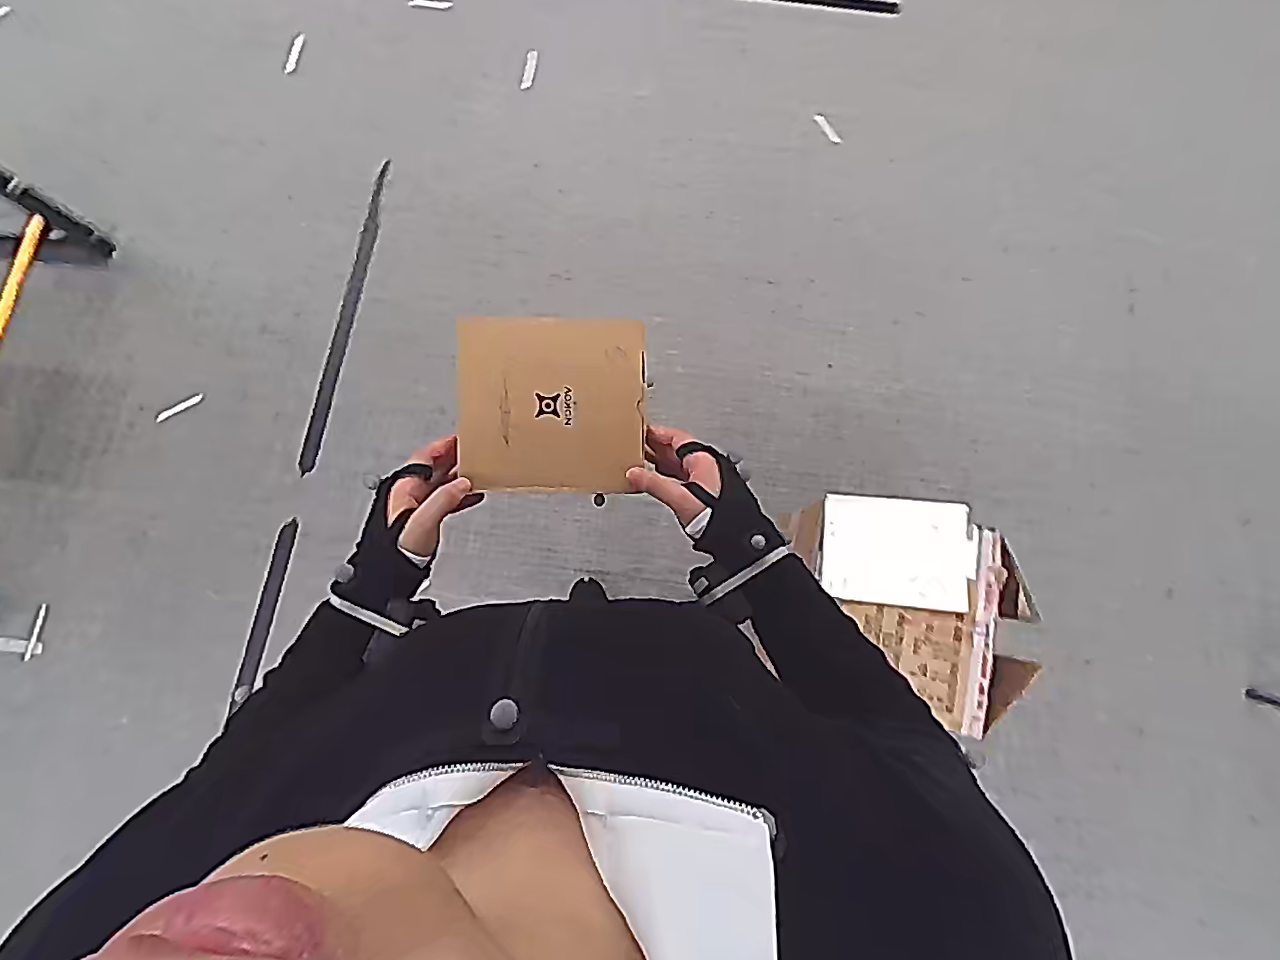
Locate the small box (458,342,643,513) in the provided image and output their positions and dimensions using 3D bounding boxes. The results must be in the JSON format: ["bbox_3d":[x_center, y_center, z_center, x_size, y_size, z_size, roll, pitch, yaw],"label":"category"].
[{"bbox_3d":[-0.092,-0.052,0.601,0.179,0.176,0.168,-2,89,-3],"label":"small box"}]
